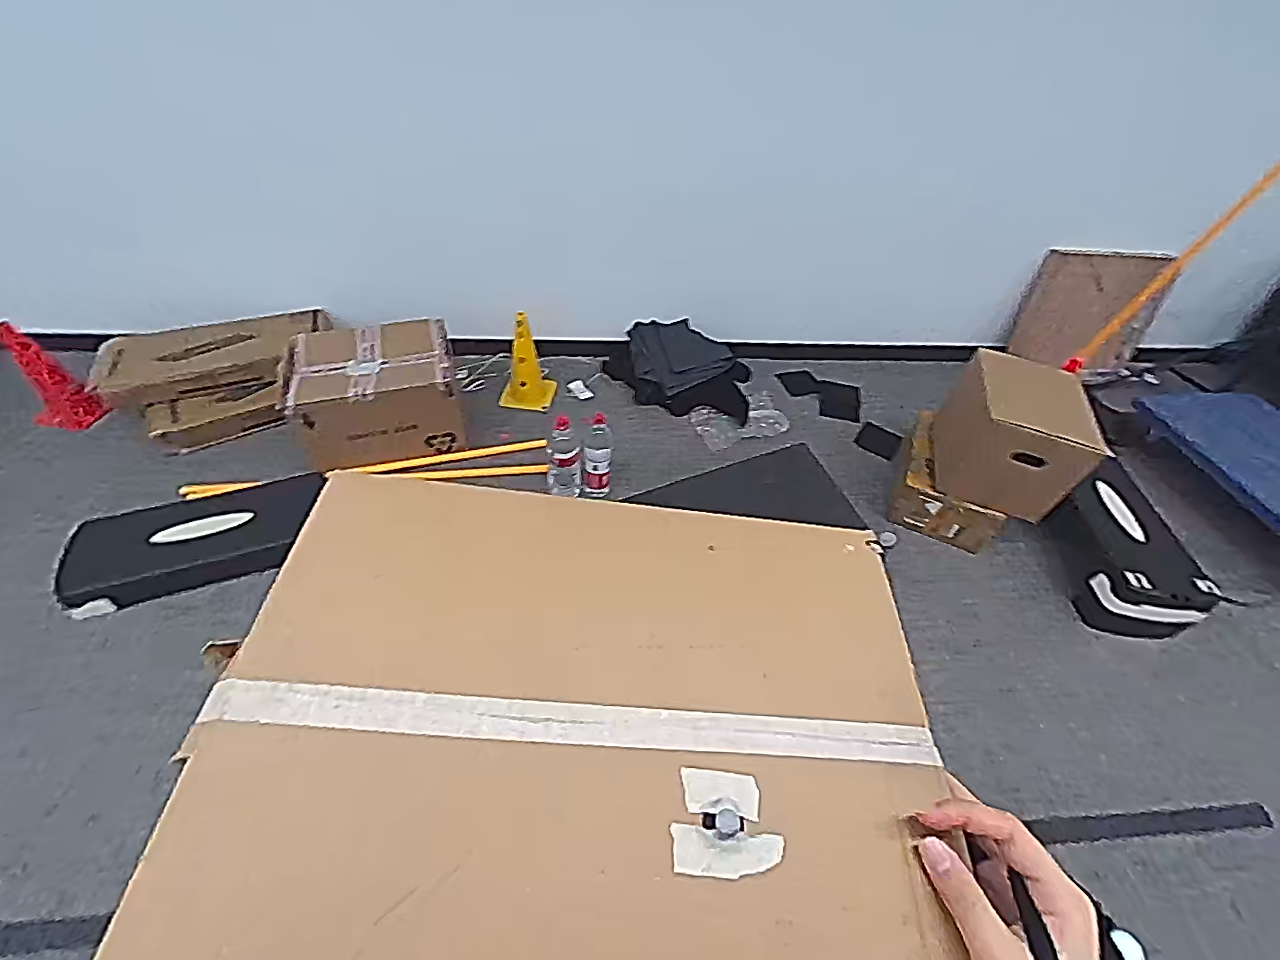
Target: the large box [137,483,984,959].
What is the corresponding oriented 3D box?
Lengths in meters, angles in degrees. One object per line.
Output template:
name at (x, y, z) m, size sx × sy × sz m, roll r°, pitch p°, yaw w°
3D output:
large box at (-0.042, 0.234, 0.433) m, size 0.408 × 0.320 × 0.320 m, roll 8°, pitch 52°, yaw -7°
